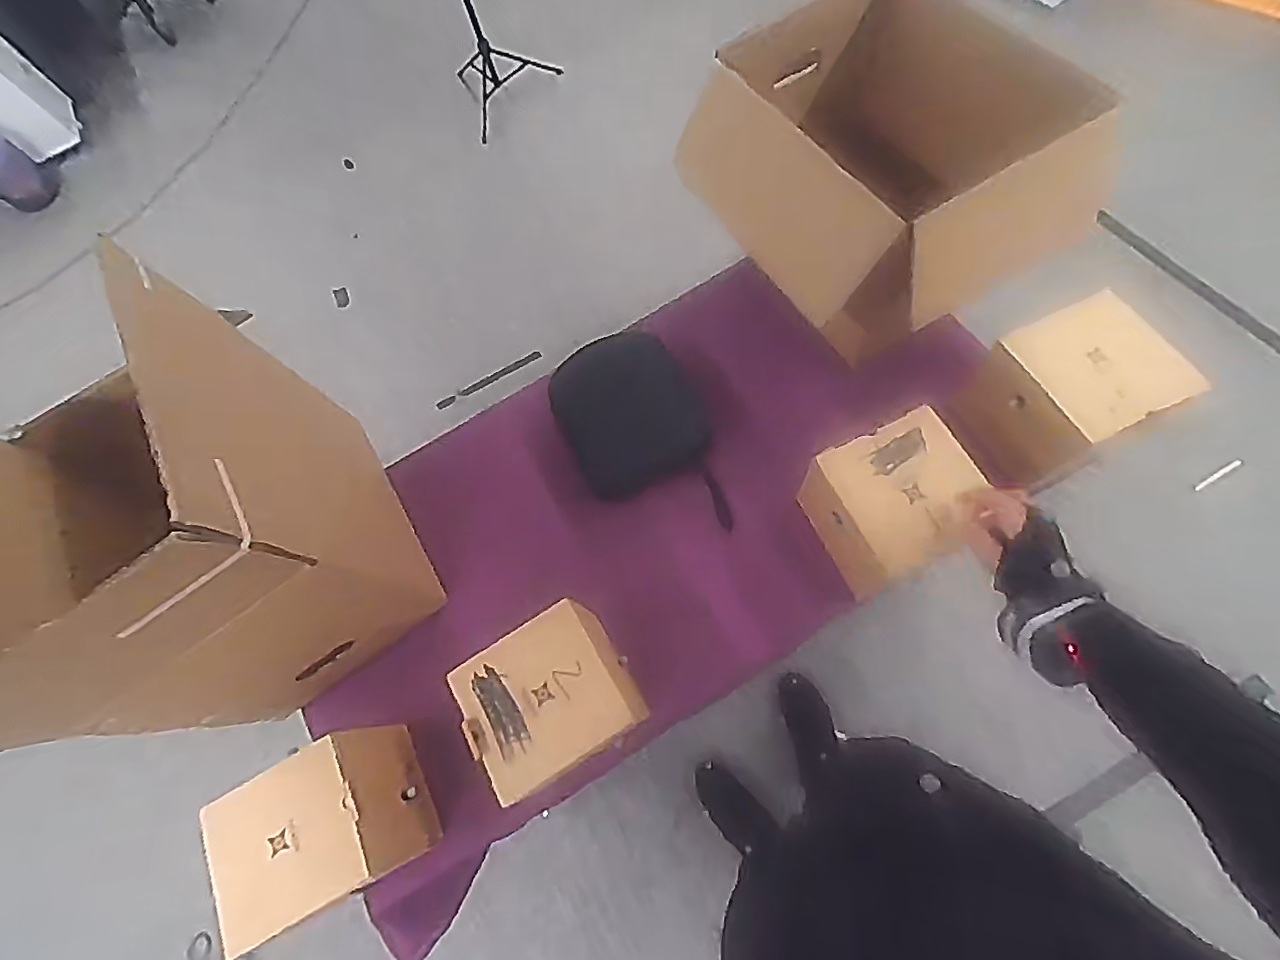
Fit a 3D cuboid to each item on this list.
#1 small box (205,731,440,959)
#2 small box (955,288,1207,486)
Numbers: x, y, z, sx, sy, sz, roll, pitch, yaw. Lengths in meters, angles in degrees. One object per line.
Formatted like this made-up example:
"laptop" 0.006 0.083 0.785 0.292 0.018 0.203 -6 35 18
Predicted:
"small box" -0.392 0.444 0.689 0.179 0.176 0.168 -30 68 -5
"small box" 0.581 -0.120 0.748 0.168 0.176 0.179 -26 67 0
